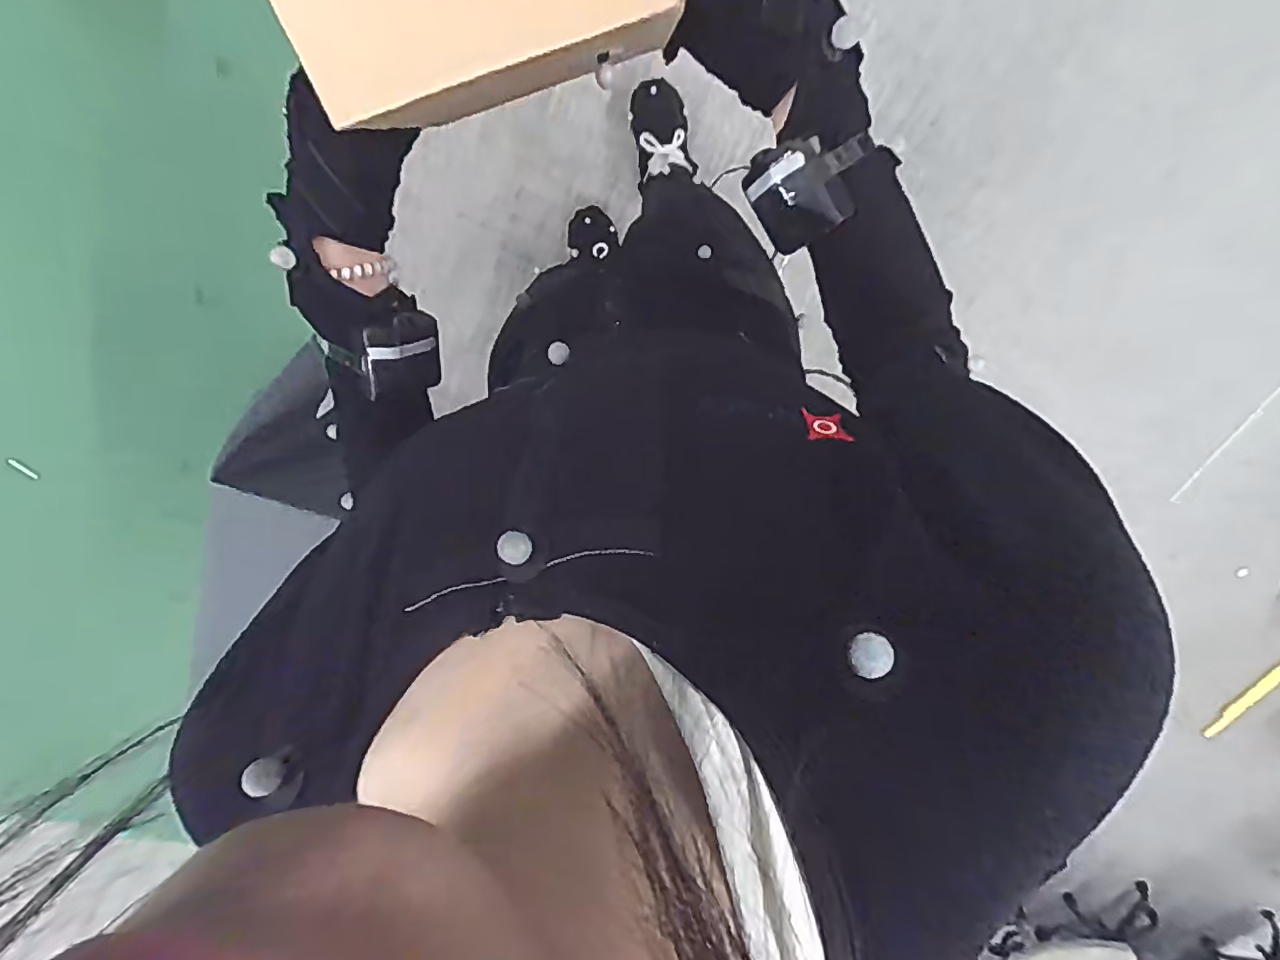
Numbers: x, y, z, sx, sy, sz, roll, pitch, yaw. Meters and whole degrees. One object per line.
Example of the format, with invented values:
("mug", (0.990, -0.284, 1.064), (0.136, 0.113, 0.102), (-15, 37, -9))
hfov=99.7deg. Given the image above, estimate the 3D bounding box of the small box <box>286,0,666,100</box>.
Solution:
("small box", (-0.084, -0.308, 0.264), (0.179, 0.176, 0.168), (-14, 123, 8))
